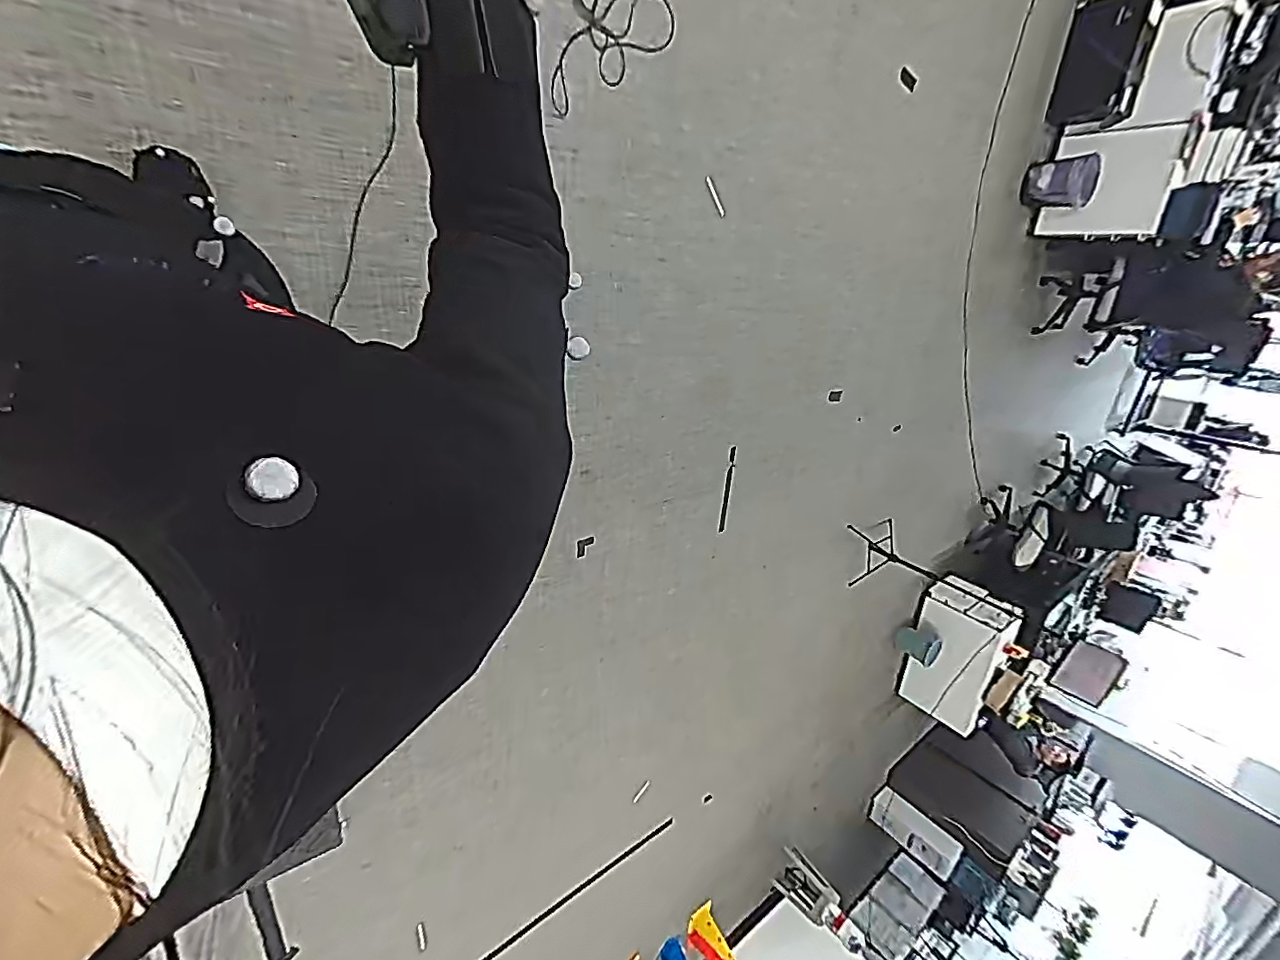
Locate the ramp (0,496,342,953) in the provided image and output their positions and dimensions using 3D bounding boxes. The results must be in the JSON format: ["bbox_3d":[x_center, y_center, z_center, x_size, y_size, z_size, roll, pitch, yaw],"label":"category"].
[{"bbox_3d":[-1.045,0.558,1.270,0.509,0.206,0.991,-12,116,-35],"label":"ramp"}]
